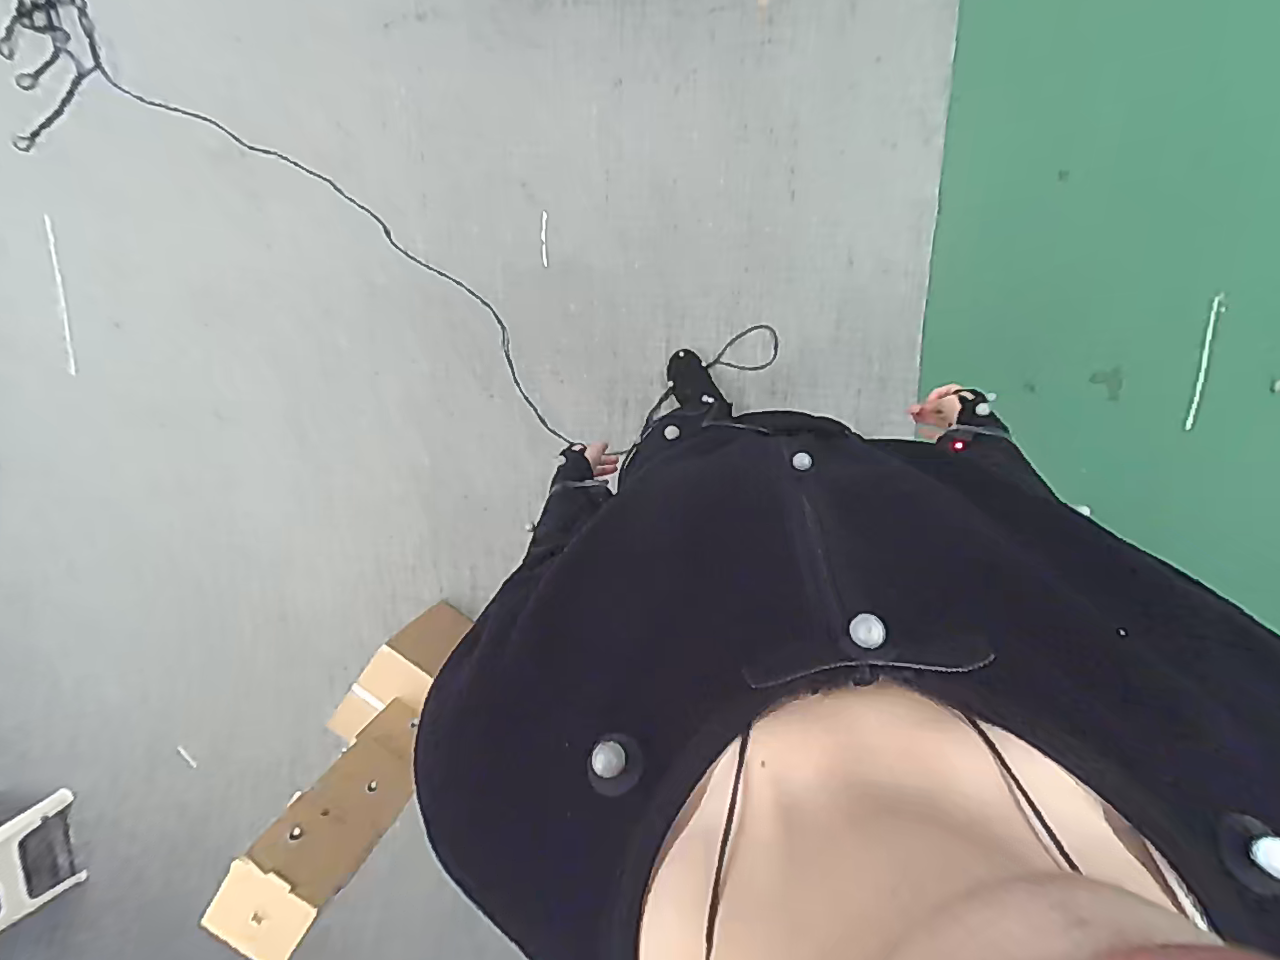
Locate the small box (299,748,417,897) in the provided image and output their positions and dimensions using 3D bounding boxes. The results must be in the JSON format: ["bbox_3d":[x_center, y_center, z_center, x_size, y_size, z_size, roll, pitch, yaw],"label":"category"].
[{"bbox_3d":[-0.612,0.699,1.131,0.179,0.176,0.168,36,101,-1],"label":"small box"}]

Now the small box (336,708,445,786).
[{"bbox_3d":[-0.609,0.682,1.295,0.179,0.176,0.168,33,102,2],"label":"small box"}]

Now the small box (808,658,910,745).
[{"bbox_3d":[0.458,0.490,1.143,0.168,0.176,0.179,-6,98,8],"label":"small box"}]

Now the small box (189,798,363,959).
[{"bbox_3d":[-0.637,0.725,0.972,0.168,0.176,0.179,34,102,1],"label":"small box"}]
